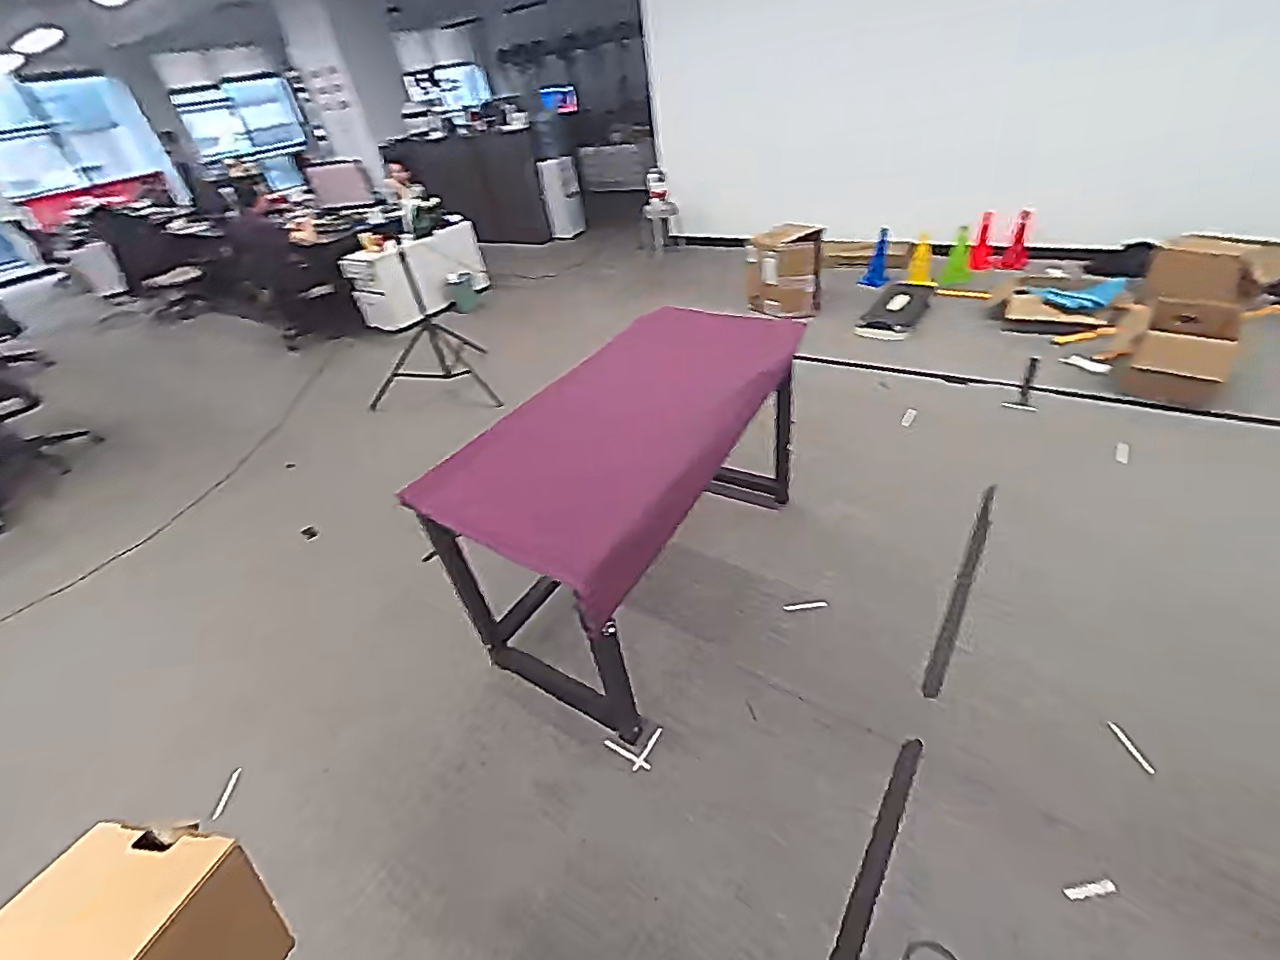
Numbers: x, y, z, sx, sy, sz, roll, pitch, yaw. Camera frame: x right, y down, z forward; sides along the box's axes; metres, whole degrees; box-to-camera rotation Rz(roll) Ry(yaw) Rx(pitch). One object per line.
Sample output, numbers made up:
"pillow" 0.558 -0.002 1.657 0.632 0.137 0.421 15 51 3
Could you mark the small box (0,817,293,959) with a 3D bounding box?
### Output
"small box" -0.456 0.445 0.479 0.168 0.176 0.179 -1 21 11
